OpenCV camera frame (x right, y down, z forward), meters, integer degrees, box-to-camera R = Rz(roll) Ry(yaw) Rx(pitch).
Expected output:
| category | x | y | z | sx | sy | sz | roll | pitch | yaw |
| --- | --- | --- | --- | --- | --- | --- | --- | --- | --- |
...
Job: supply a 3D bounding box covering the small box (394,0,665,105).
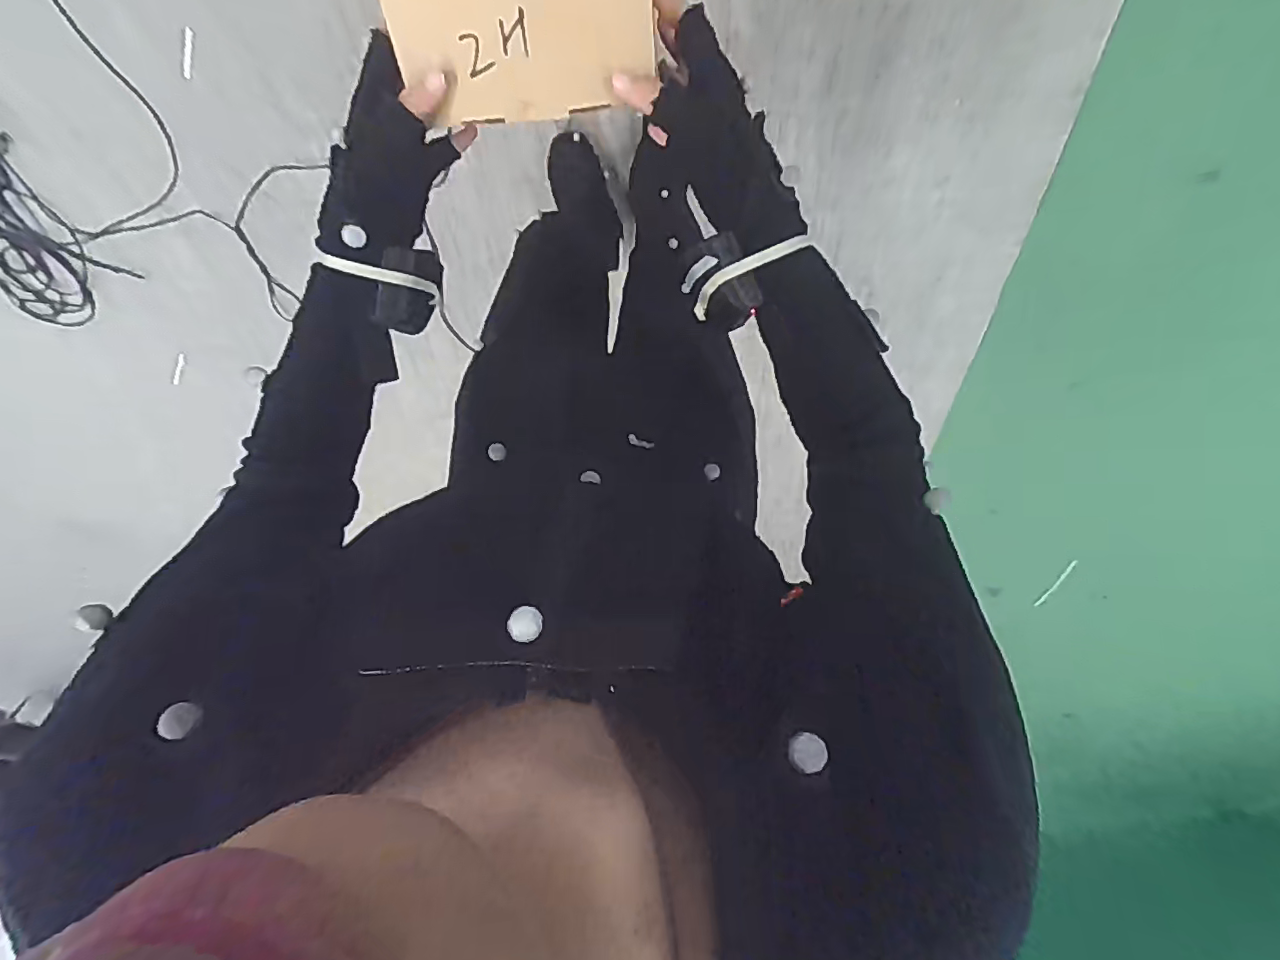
| category | x | y | z | sx | sy | sz | roll | pitch | yaw |
| --- | --- | --- | --- | --- | --- | --- | --- | --- | --- |
| small box | -0.071 | -0.374 | 0.370 | 0.168 | 0.176 | 0.179 | -3 | 128 | 6 |
